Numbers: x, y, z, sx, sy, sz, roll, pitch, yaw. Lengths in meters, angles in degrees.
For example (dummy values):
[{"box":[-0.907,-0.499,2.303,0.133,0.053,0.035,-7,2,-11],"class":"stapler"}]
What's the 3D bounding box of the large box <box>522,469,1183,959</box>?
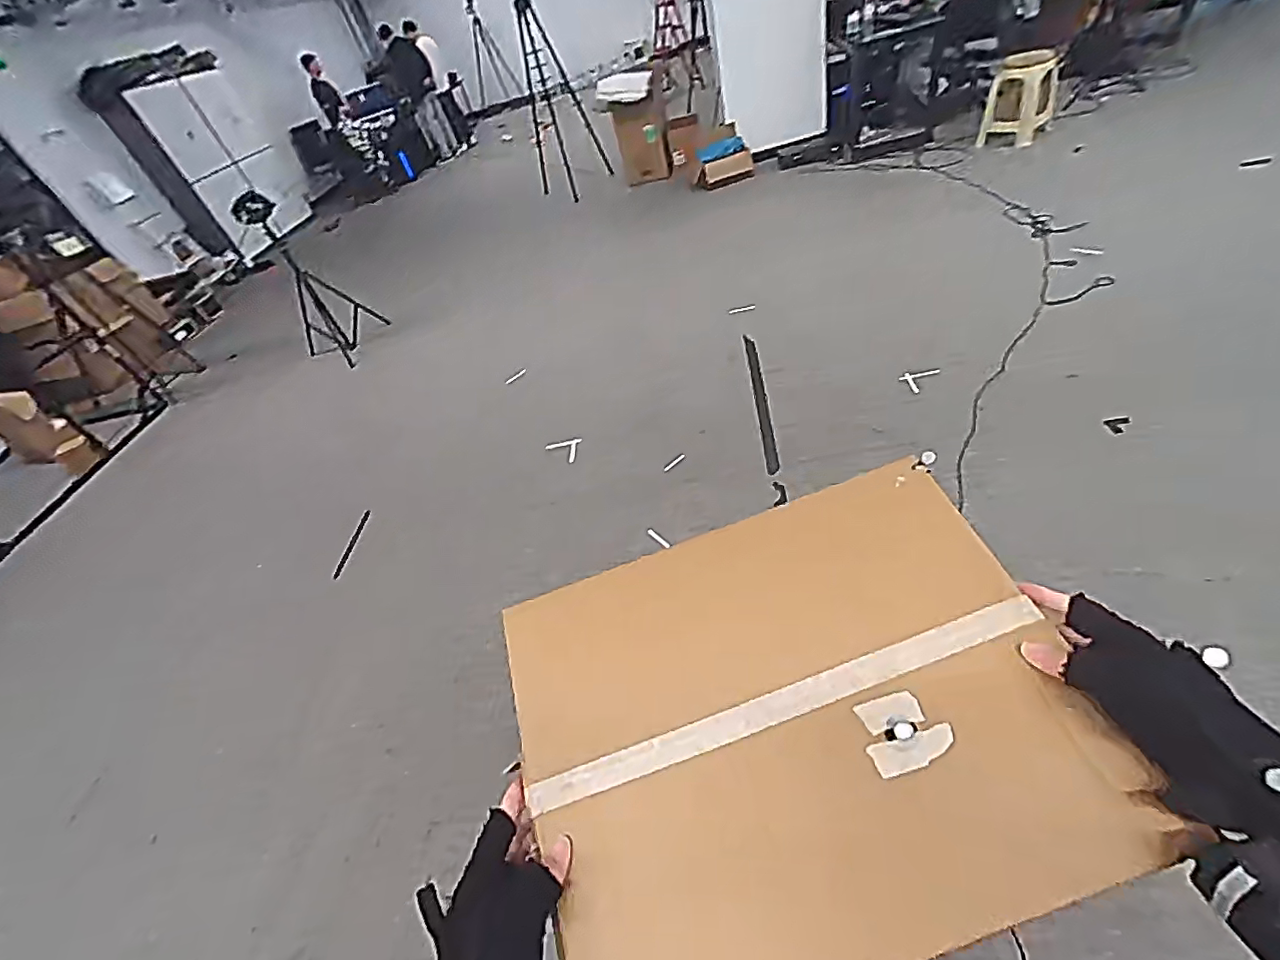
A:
[{"box":[0.145,0.256,0.544,0.408,0.320,0.320,-21,55,0],"class":"large box"}]
